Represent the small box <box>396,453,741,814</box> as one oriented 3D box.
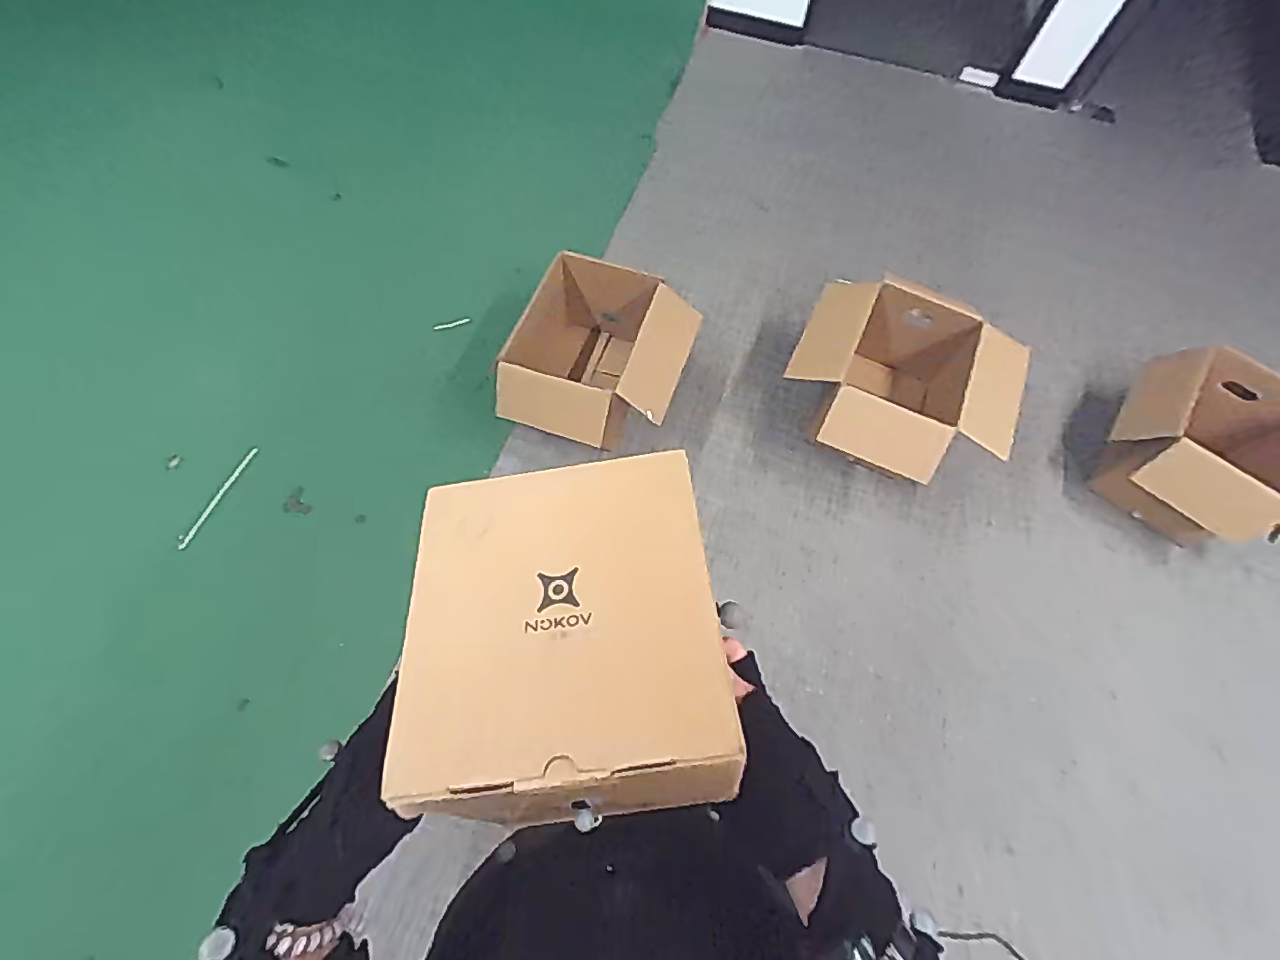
[{"bbox_3d":[-0.034,0.109,0.363,0.168,0.176,0.179,-9,55,2],"label":"small box"}]
